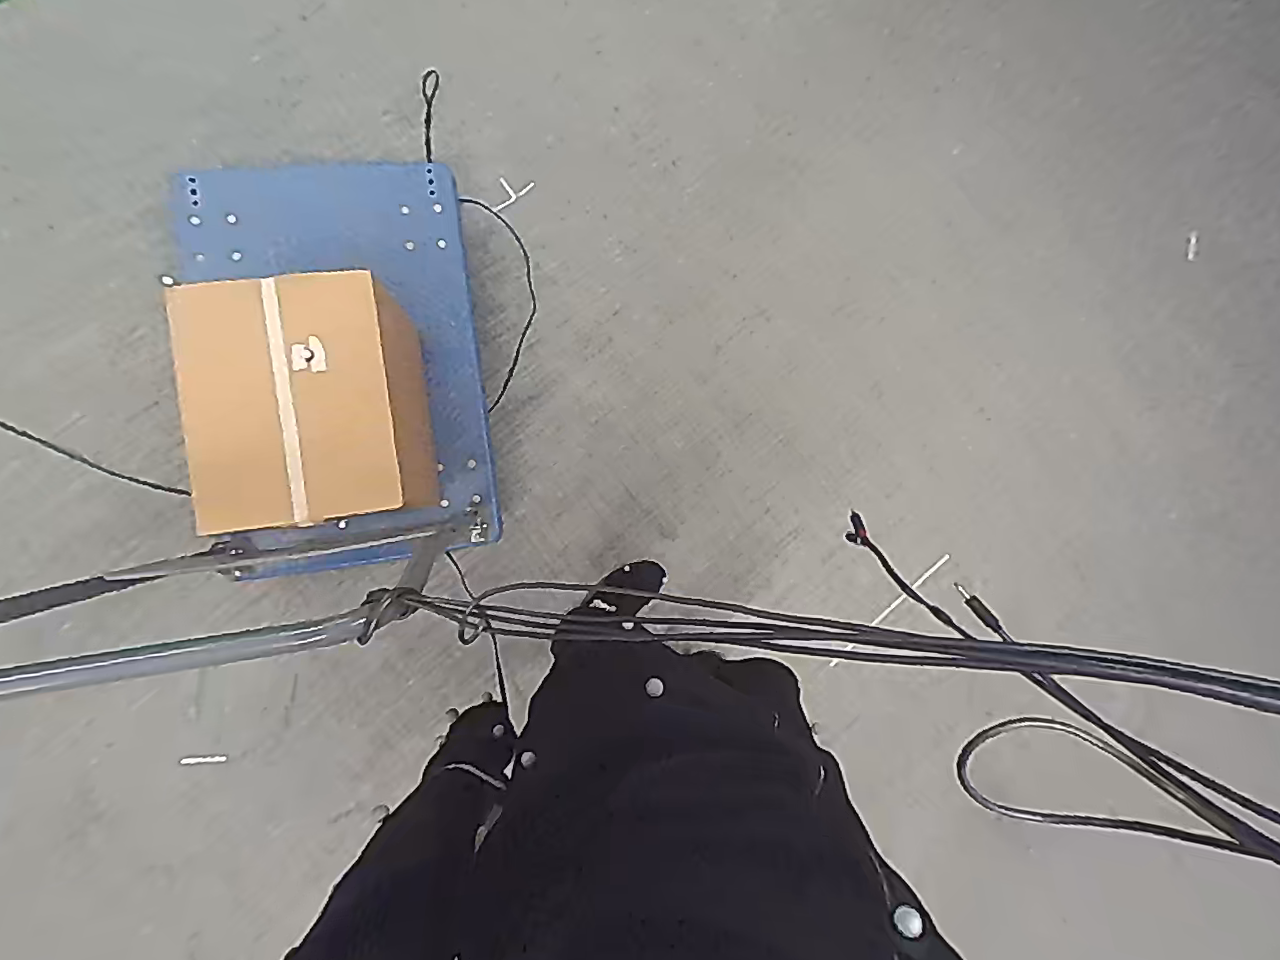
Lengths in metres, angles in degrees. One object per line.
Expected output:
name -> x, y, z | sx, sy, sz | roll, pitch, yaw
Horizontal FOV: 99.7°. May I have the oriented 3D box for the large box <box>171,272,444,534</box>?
large box -> -0.590, -0.124, 1.029 | 0.320, 0.320, 0.408 | -9, 88, -9
